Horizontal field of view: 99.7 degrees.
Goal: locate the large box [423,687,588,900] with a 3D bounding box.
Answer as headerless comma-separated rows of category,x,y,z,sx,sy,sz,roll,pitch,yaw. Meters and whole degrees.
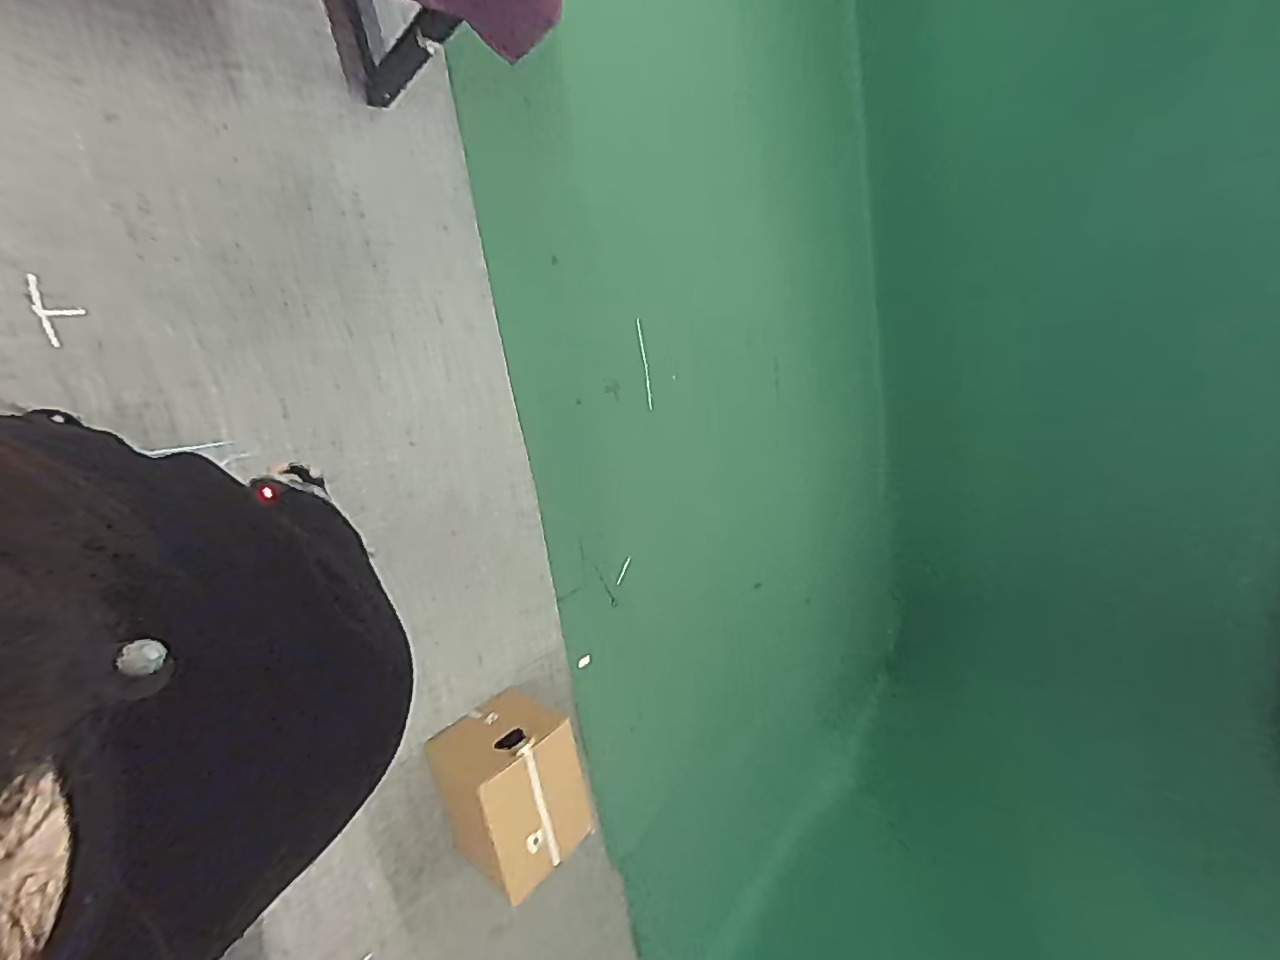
large box,-0.404,0.922,1.644,0.320,0.320,0.408,-23,109,-44
